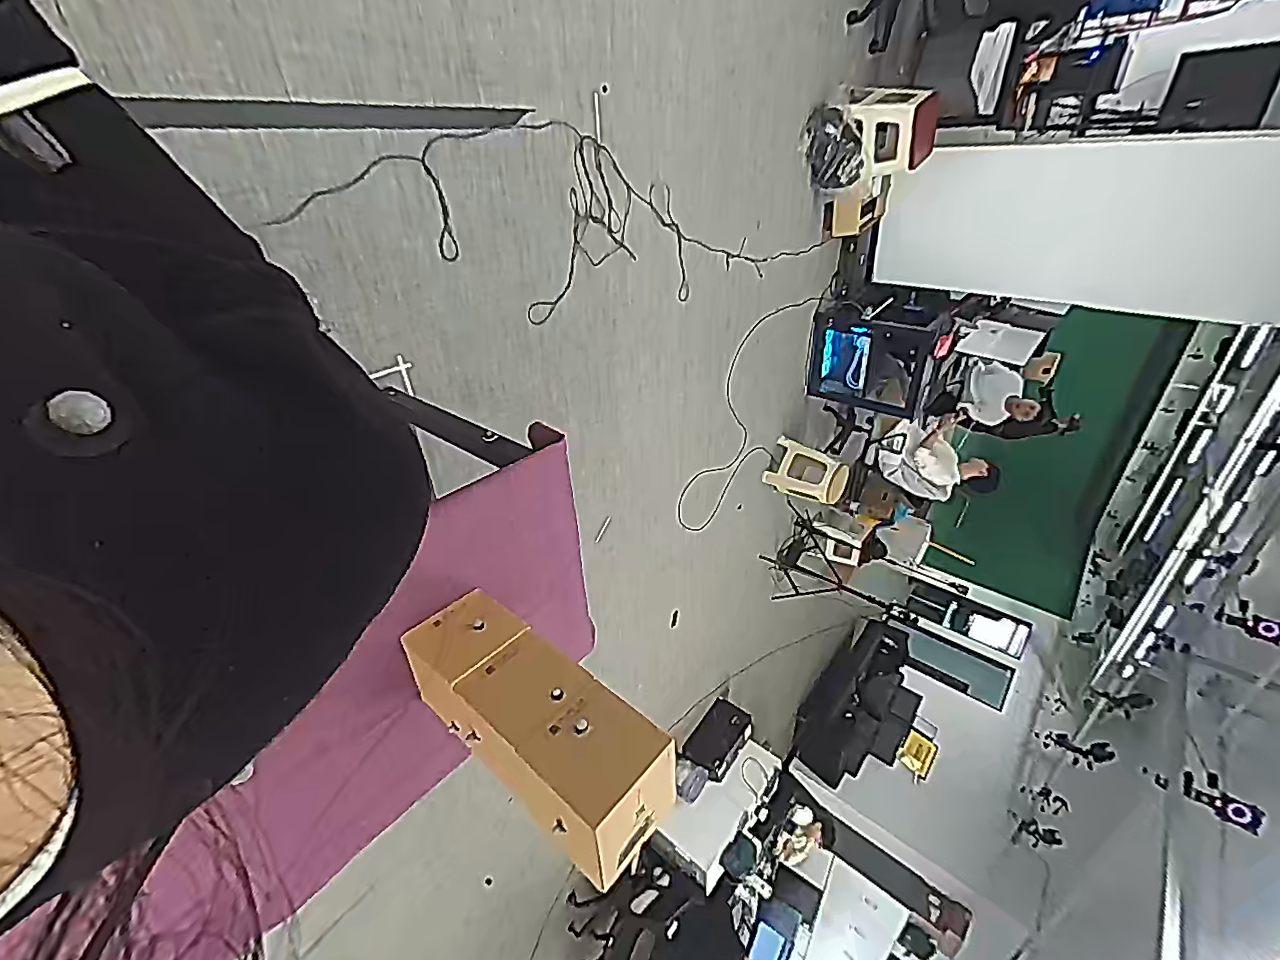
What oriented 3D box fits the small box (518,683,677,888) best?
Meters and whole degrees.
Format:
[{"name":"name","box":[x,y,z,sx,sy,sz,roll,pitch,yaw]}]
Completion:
[{"name":"small box","box":[-0.062,0.448,0.817,0.168,0.176,0.179,-32,132,-40]}]

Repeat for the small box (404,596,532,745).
[{"name":"small box","box":[-0.309,0.339,1.005,0.168,0.176,0.179,-32,133,-40]}]

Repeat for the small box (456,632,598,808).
[{"name":"small box","box":[-0.184,0.396,0.915,0.168,0.176,0.179,-33,134,-40]}]
